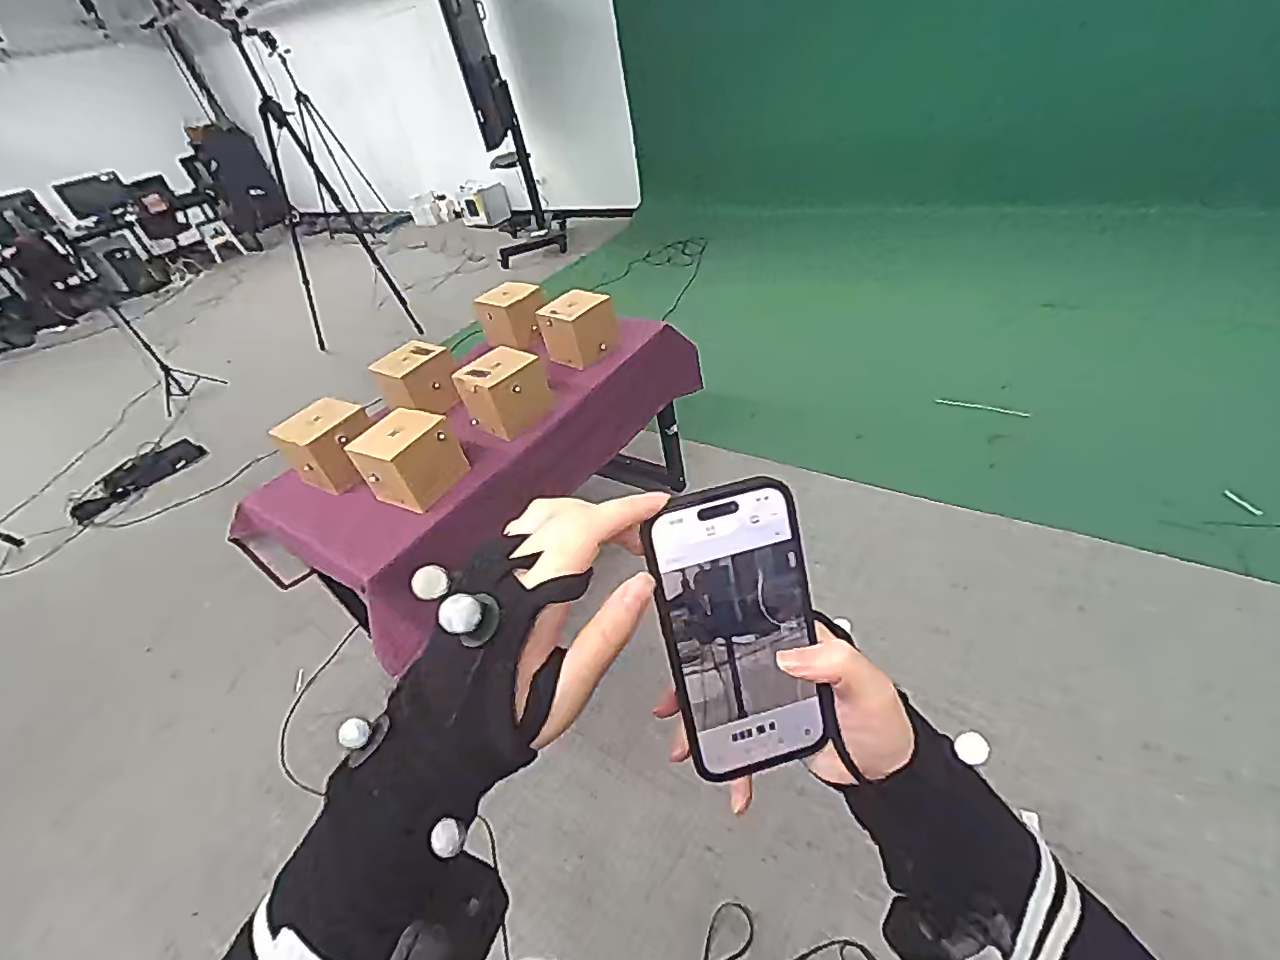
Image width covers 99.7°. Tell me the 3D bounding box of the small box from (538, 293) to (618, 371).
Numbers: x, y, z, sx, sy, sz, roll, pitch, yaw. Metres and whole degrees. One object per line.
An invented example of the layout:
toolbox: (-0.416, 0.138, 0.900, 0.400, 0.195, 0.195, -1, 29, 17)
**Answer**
small box: (-0.186, -0.466, 1.700, 0.168, 0.176, 0.179, 24, 51, 36)

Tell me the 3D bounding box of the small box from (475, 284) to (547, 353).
small box: (-0.433, -0.557, 1.871, 0.179, 0.176, 0.168, 21, 51, 33)

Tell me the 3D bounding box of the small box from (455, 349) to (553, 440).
small box: (-0.362, -0.232, 1.473, 0.168, 0.176, 0.179, 23, 50, 35)

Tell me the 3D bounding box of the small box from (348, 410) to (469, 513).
small box: (-0.547, -0.044, 1.302, 0.168, 0.176, 0.179, 12, 45, 27)
